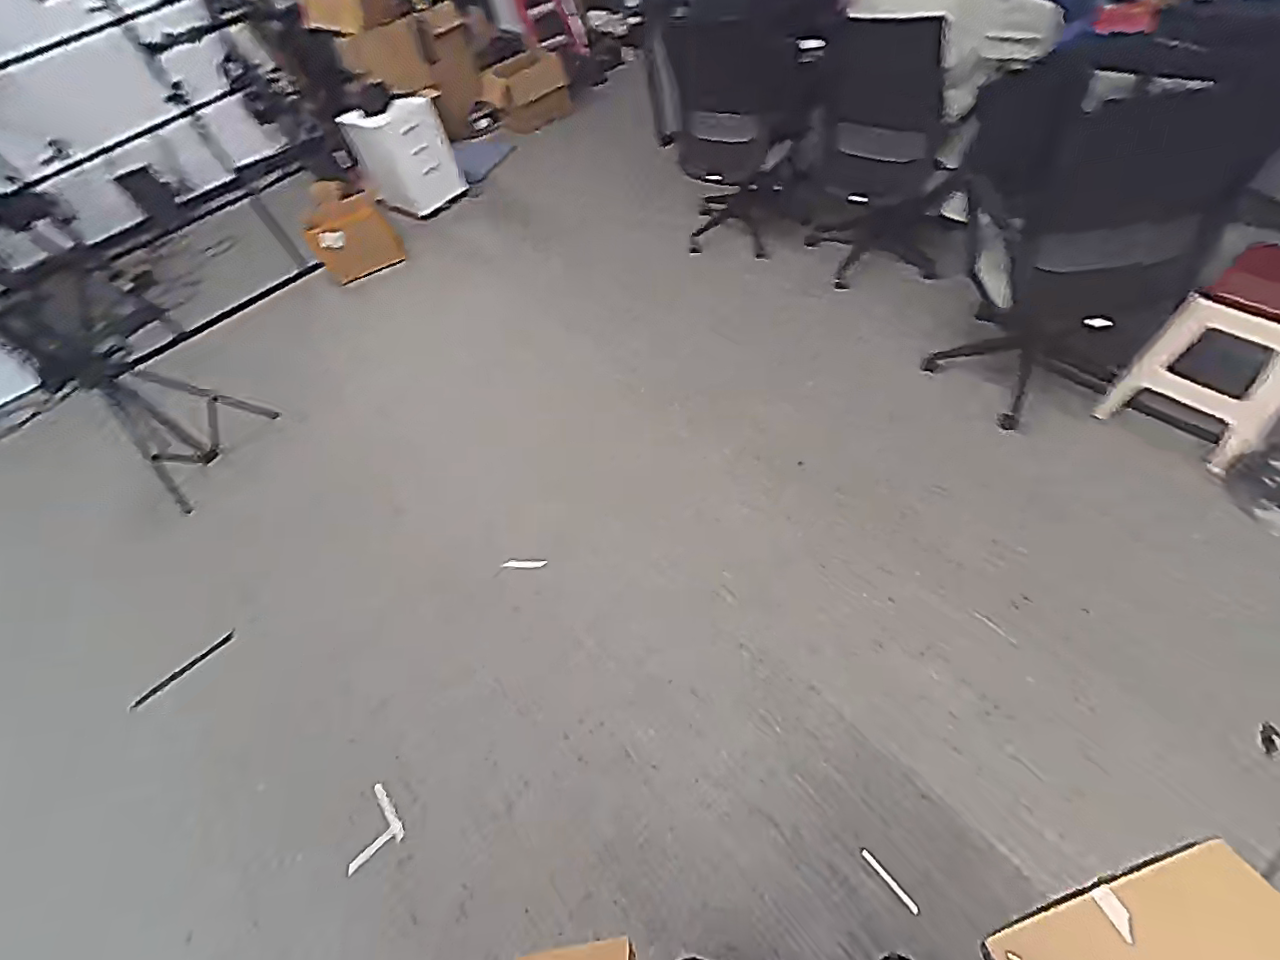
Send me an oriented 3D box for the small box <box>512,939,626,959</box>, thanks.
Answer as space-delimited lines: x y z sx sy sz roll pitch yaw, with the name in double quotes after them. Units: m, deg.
-0.084 0.740 0.676 0.168 0.176 0.179 -13 9 3 "small box"
